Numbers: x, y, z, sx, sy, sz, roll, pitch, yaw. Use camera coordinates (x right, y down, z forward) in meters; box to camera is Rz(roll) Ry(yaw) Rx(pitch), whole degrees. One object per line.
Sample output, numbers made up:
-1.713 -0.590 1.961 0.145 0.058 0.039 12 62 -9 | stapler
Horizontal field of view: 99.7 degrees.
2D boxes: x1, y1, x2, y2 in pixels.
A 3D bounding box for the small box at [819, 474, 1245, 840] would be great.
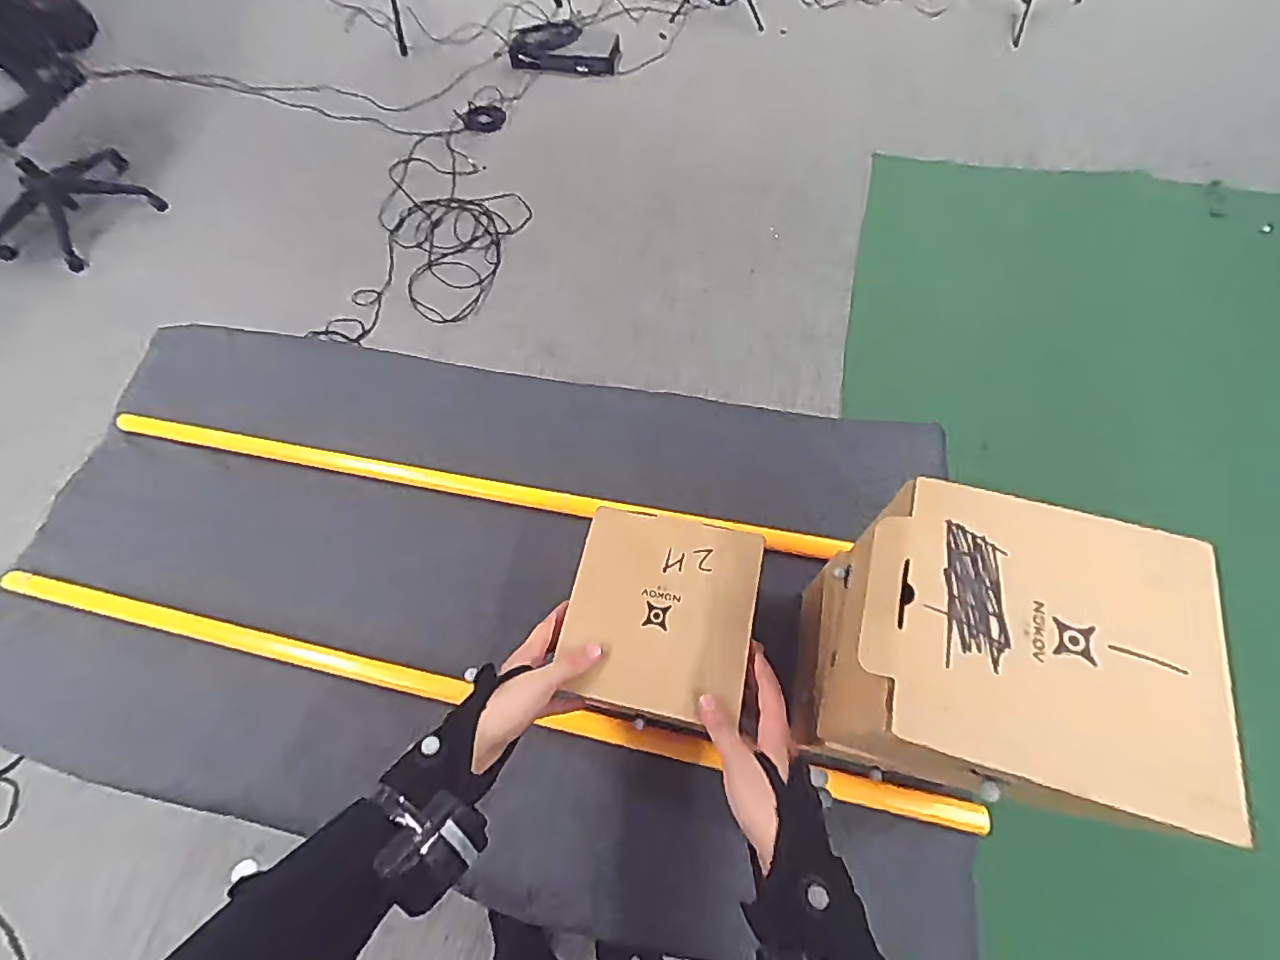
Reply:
0.241 0.121 0.382 0.179 0.176 0.168 15 67 10 | small box
